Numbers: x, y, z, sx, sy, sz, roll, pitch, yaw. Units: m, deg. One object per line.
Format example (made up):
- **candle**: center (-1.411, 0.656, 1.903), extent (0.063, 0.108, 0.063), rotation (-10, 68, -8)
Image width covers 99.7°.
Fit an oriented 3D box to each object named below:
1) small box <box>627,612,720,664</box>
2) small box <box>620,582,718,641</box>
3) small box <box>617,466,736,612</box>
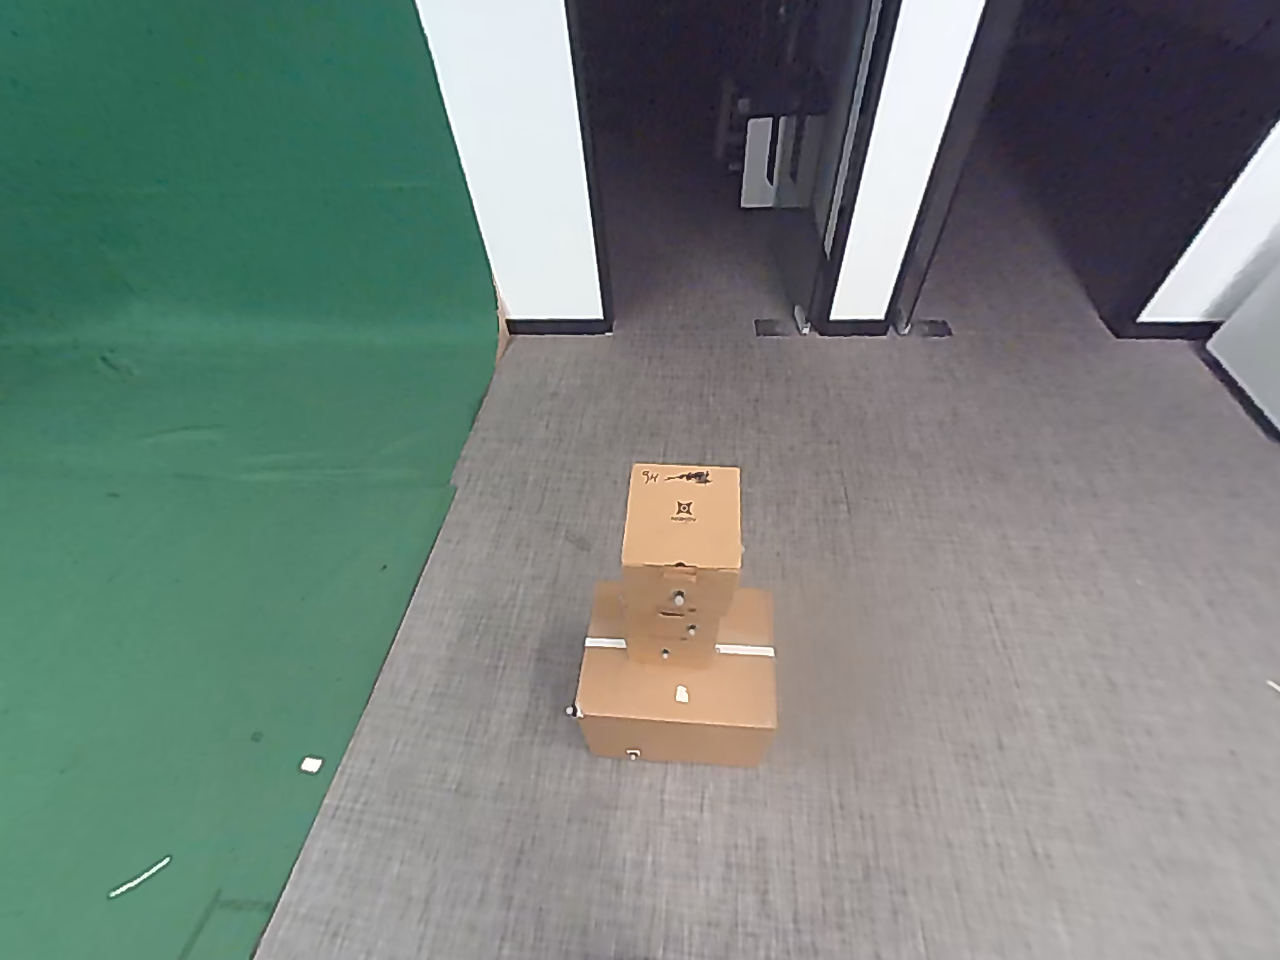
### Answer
- **small box**: center (0.072, 0.277, 1.125), extent (0.179, 0.176, 0.168), rotation (1, 56, 5)
- **small box**: center (0.061, 0.184, 0.992), extent (0.168, 0.176, 0.179), rotation (2, 54, 5)
- **small box**: center (0.063, 0.098, 0.853), extent (0.168, 0.176, 0.179), rotation (2, 56, 6)
